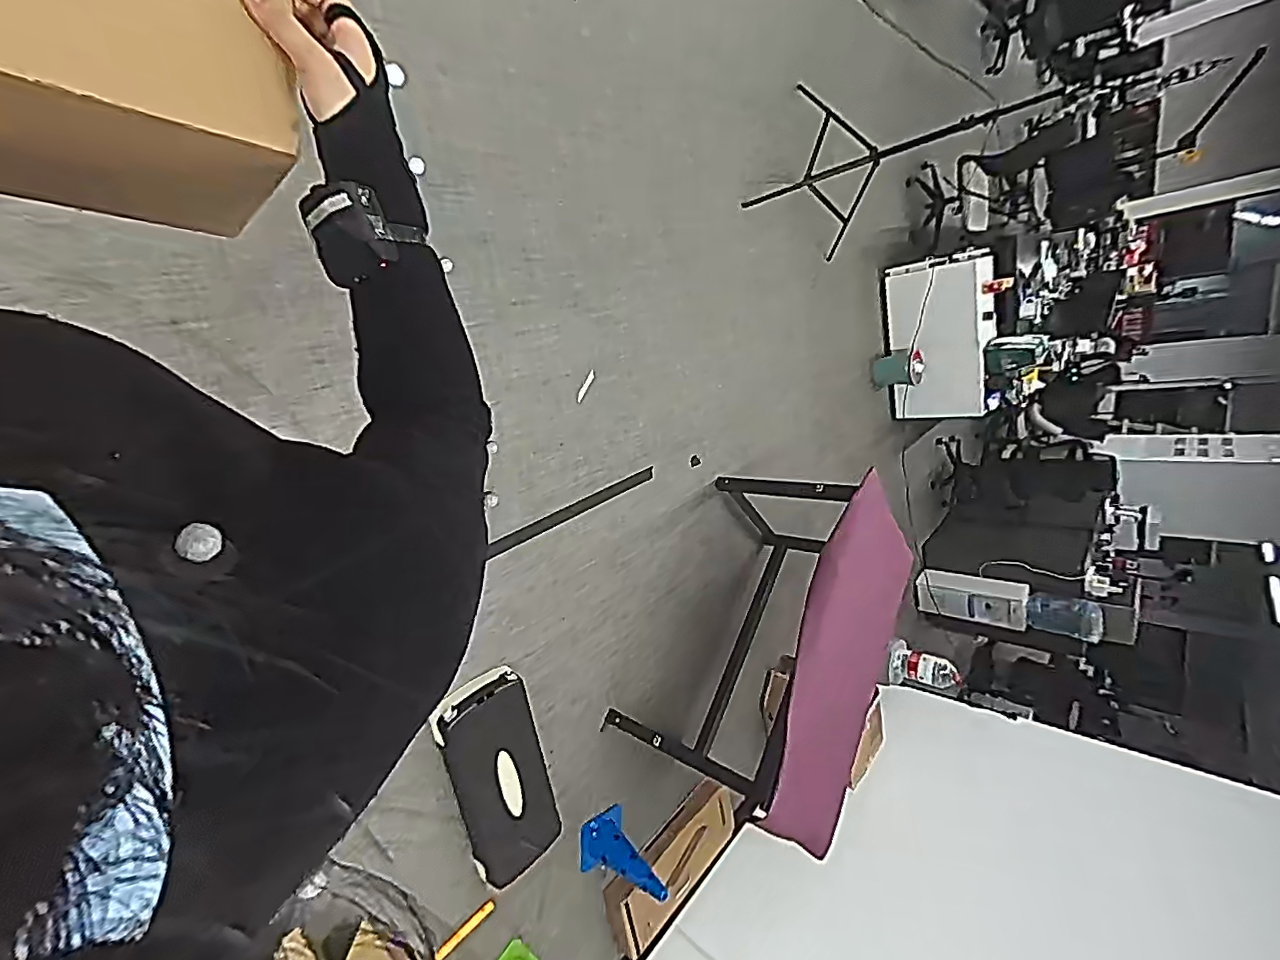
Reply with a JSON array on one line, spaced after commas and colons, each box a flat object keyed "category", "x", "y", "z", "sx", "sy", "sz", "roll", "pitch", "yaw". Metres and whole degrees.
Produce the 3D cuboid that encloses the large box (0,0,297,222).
[{"category": "large box", "x": -0.504, "y": -0.404, "z": 0.364, "sx": 0.408, "sy": 0.320, "sz": 0.320, "roll": -7, "pitch": 101, "yaw": -42}]
